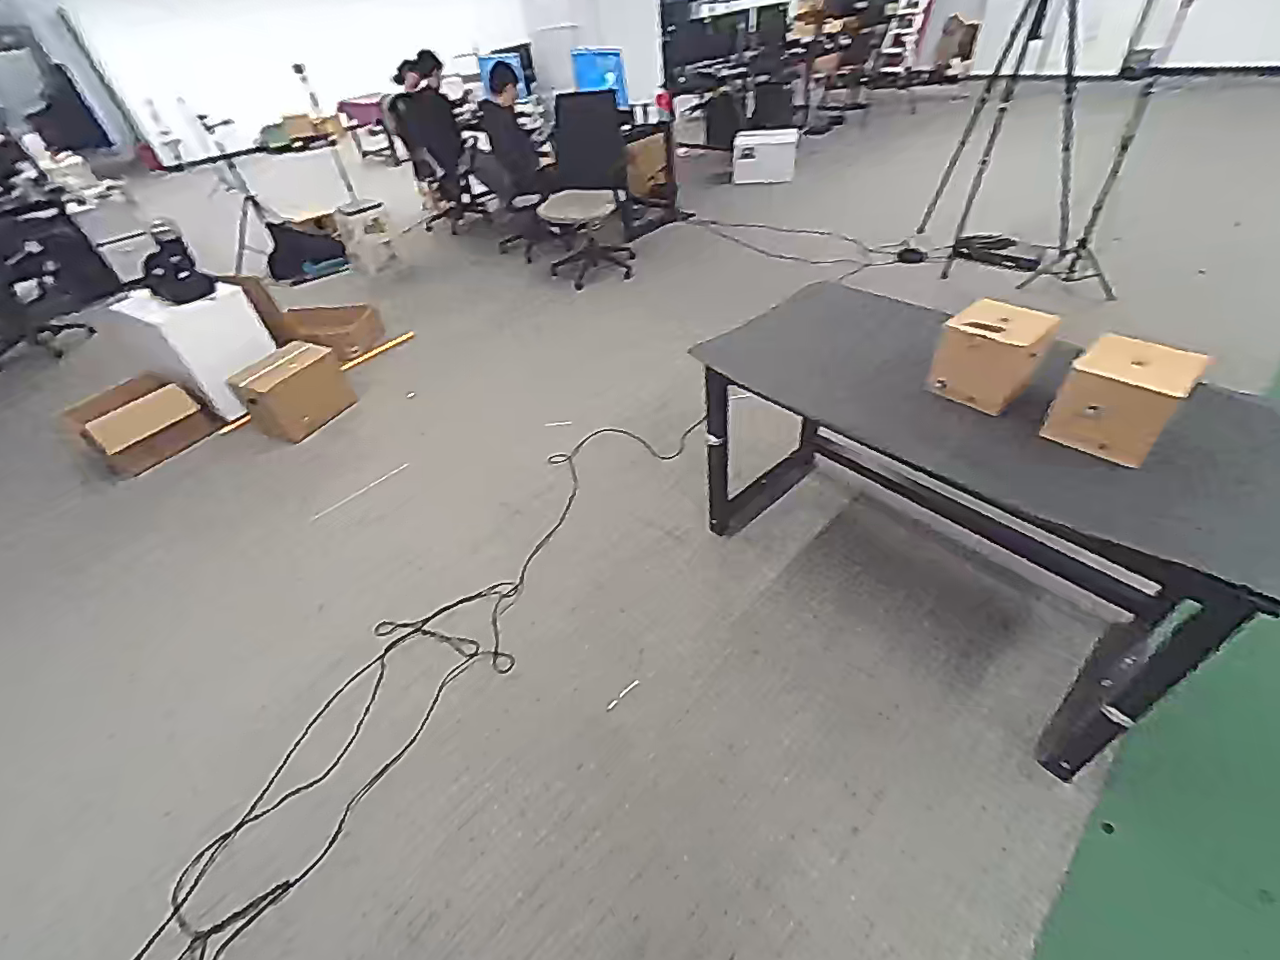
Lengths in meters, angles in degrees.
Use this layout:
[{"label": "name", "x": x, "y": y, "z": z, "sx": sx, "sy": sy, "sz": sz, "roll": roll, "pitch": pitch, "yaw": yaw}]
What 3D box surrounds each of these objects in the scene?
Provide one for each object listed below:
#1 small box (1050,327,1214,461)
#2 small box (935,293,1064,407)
[{"label": "small box", "x": 0.936, "y": -0.166, "z": 1.045, "sx": 0.179, "sy": 0.176, "sz": 0.168, "roll": -34, "pitch": 48, "yaw": -27}, {"label": "small box", "x": 0.784, "y": -0.287, "z": 1.199, "sx": 0.179, "sy": 0.176, "sz": 0.168, "roll": -32, "pitch": 48, "yaw": -25}]
